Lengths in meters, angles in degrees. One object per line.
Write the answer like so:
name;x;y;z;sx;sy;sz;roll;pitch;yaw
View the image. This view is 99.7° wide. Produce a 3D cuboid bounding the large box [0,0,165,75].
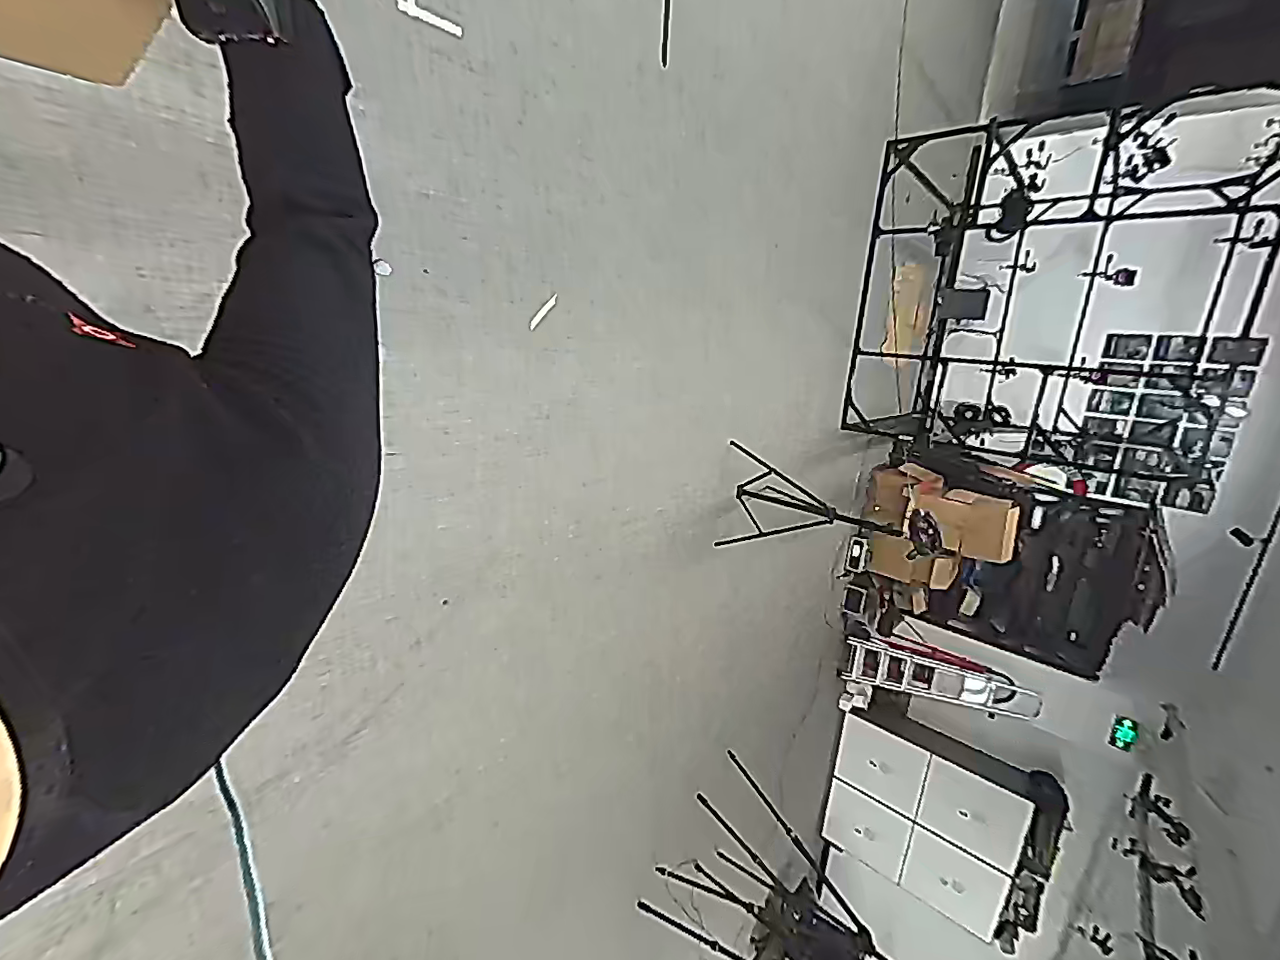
large box;-0.521;-0.472;0.253;0.408;0.320;0.320;-16;114;-48
